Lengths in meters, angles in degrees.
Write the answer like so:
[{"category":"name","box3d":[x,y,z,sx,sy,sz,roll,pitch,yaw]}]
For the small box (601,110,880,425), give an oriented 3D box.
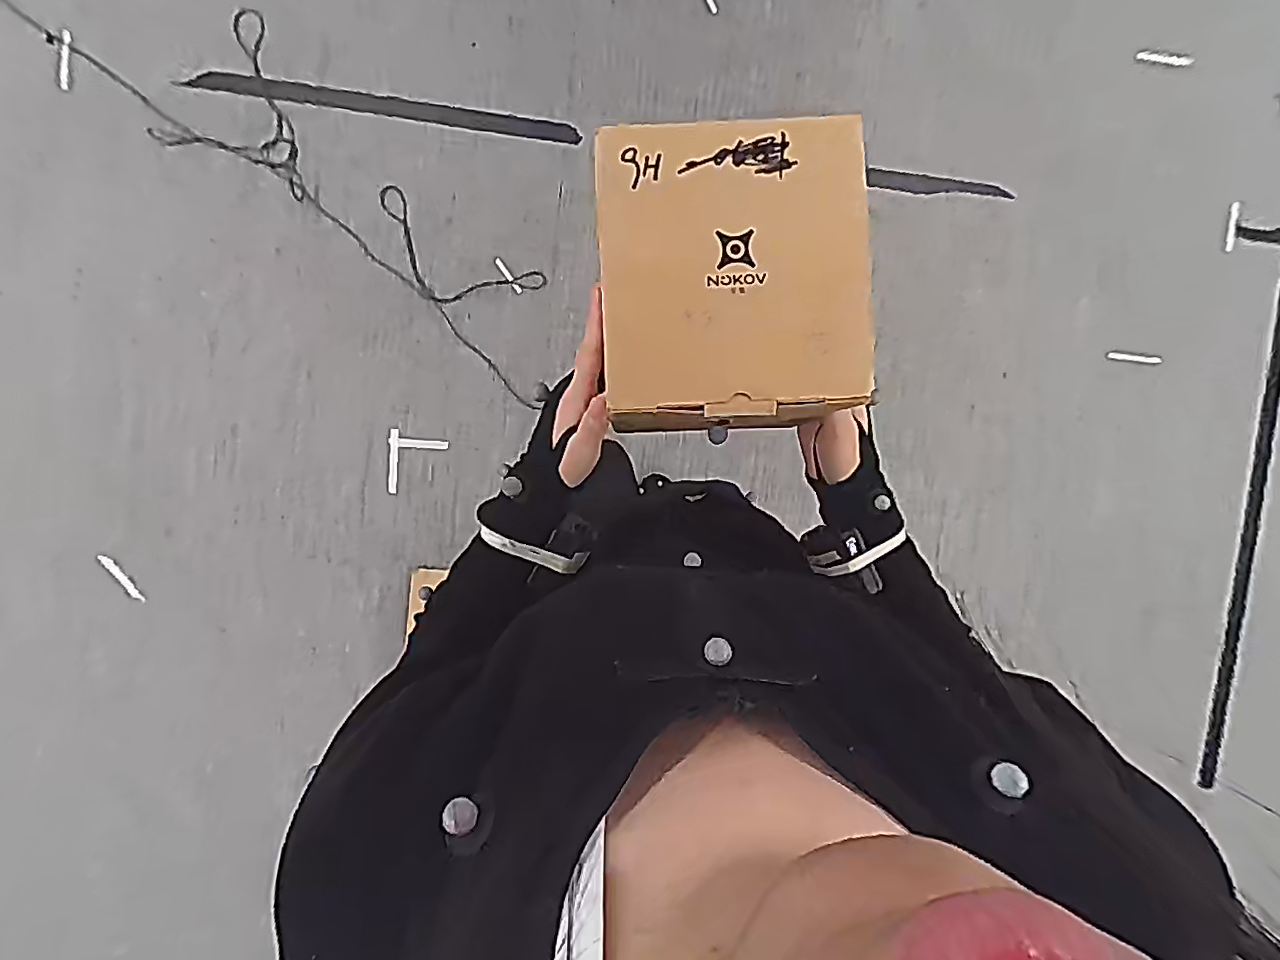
[{"category":"small box","box3d":[0.060,-0.132,0.402,0.168,0.176,0.179,-2,91,-2]}]
